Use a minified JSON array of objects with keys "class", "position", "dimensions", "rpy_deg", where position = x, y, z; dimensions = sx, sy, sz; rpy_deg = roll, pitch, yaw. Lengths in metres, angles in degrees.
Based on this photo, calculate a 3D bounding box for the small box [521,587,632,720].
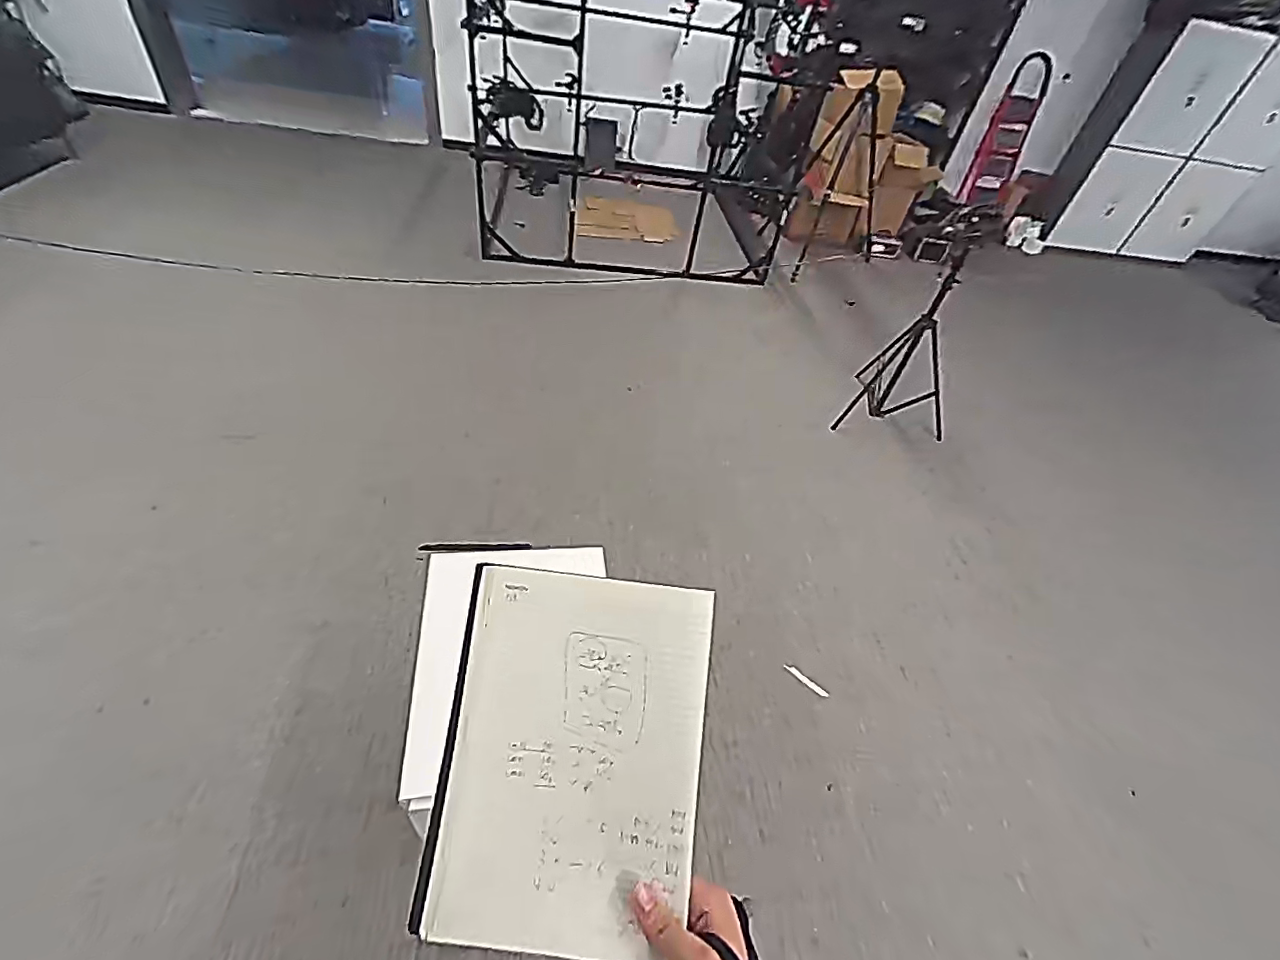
[{"class":"small box","position":[-0.129,0.330,1.032],"dimensions":[0.179,0.176,0.168],"rpy_deg":[-7,47,-18]}]
